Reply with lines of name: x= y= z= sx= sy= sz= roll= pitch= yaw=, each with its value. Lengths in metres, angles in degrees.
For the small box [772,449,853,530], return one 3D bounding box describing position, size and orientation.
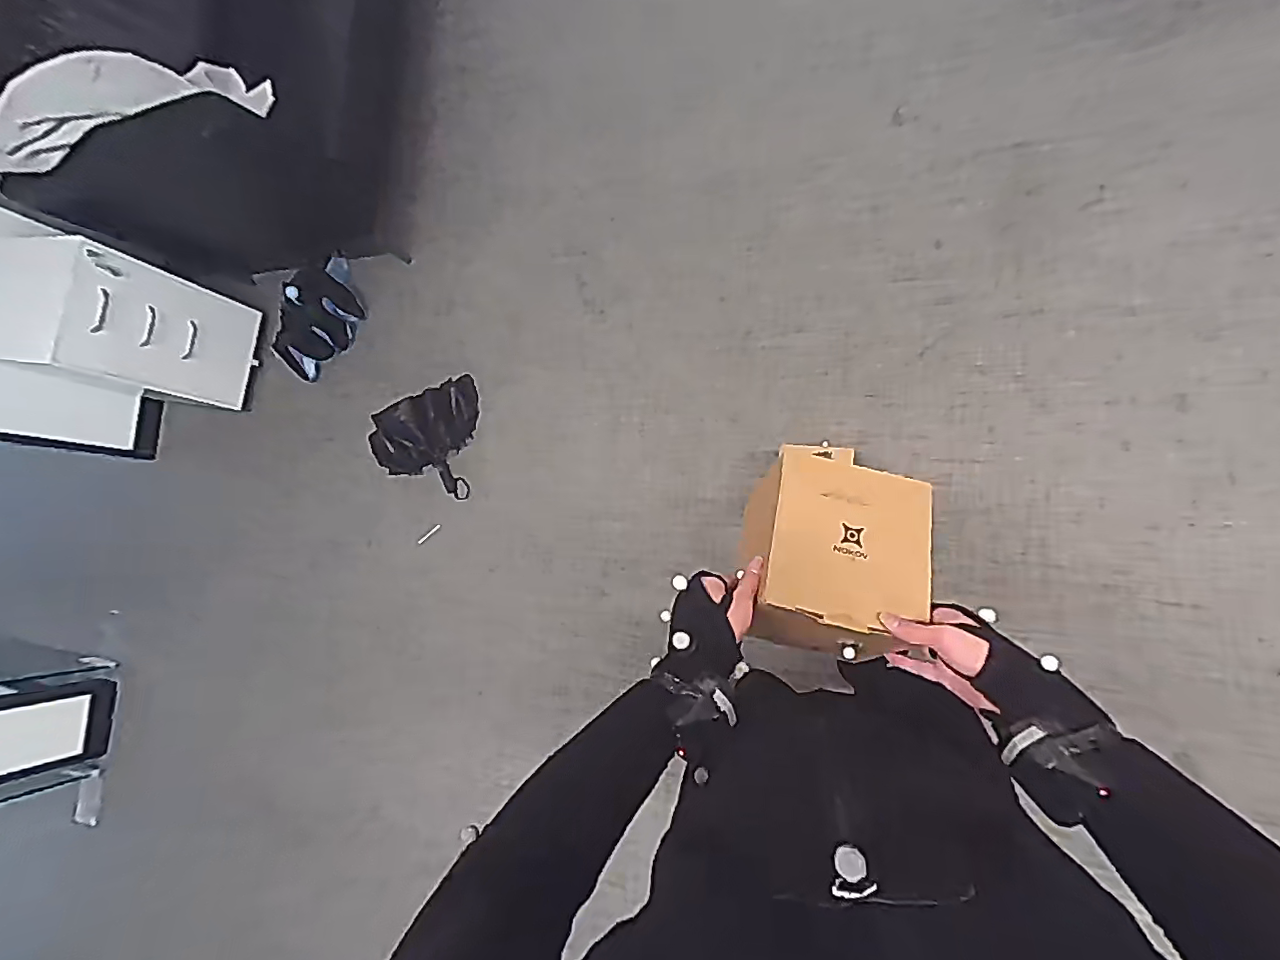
small box: x=0.423 y=0.027 z=1.314 sx=0.168 sy=0.176 sz=0.179 roll=5 pitch=85 yaw=20
